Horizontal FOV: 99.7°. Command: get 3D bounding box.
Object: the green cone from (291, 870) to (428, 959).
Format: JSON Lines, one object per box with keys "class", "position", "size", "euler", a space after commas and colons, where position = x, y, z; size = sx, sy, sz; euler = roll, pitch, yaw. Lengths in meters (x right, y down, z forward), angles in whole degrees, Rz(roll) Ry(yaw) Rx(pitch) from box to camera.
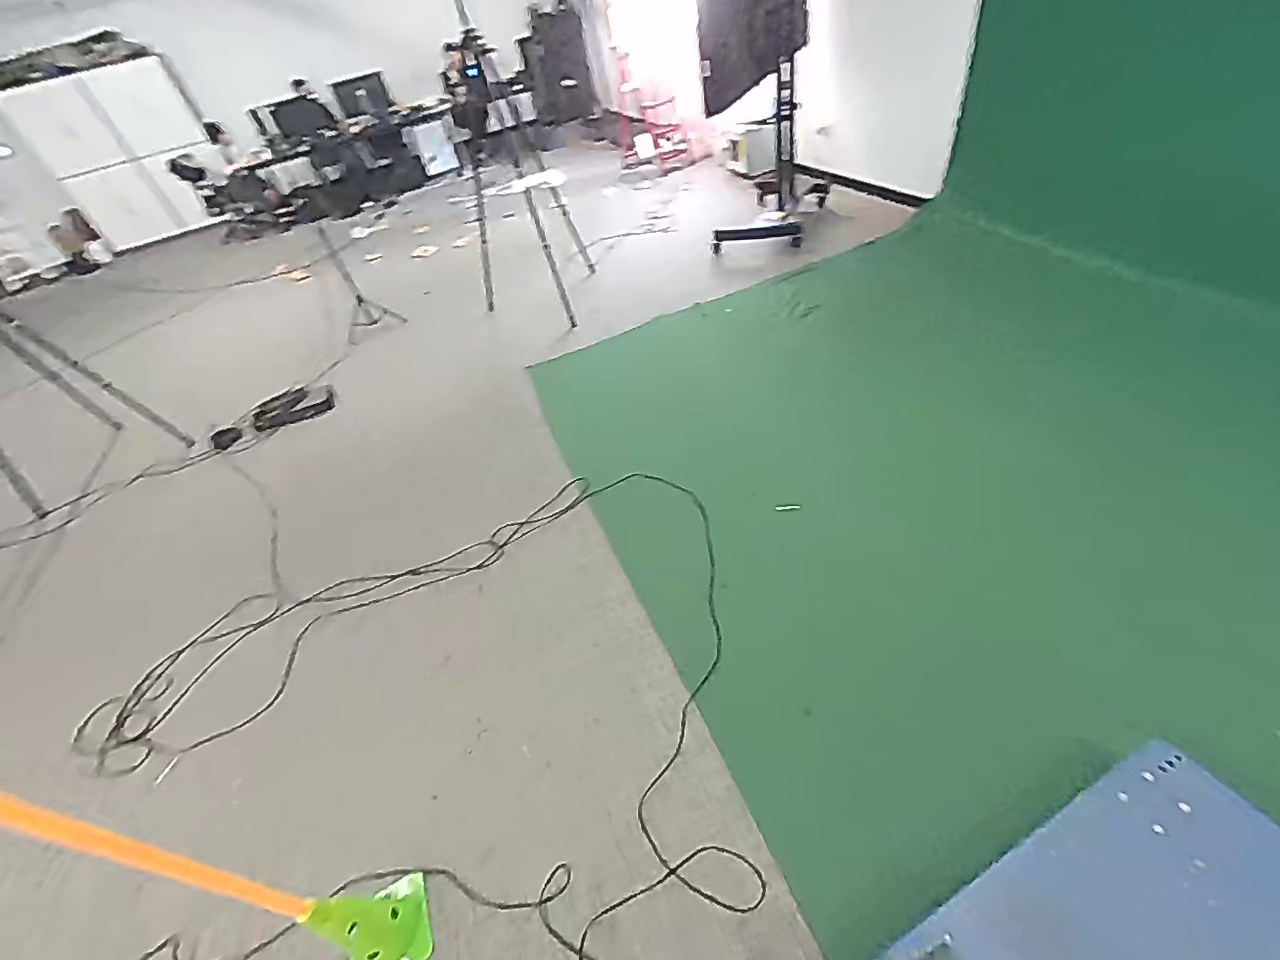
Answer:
{"class": "green cone", "position": [-0.674, 1.017, 1.252], "size": [0.200, 0.368, 0.202], "euler": [-26, 43, -12]}
